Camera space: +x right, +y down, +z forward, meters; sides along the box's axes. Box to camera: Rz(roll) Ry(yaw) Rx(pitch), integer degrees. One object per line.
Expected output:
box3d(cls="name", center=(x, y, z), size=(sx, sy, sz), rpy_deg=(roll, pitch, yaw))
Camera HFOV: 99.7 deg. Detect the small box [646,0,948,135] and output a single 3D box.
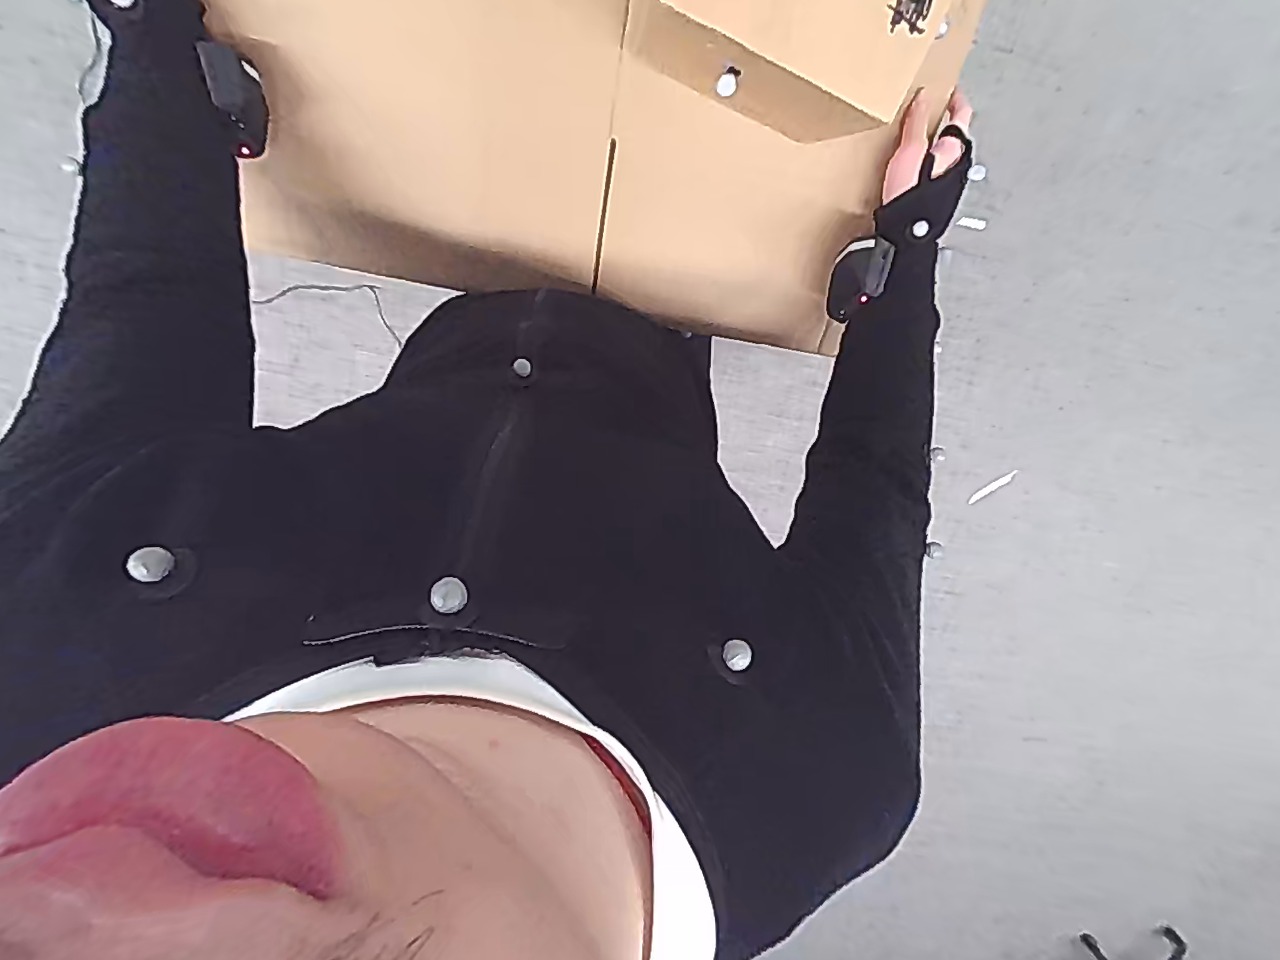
box3d(cls="small box", center=(0.112, -0.371, 0.384), size=(0.179, 0.176, 0.168), rpy_deg=(18, 115, -12))
